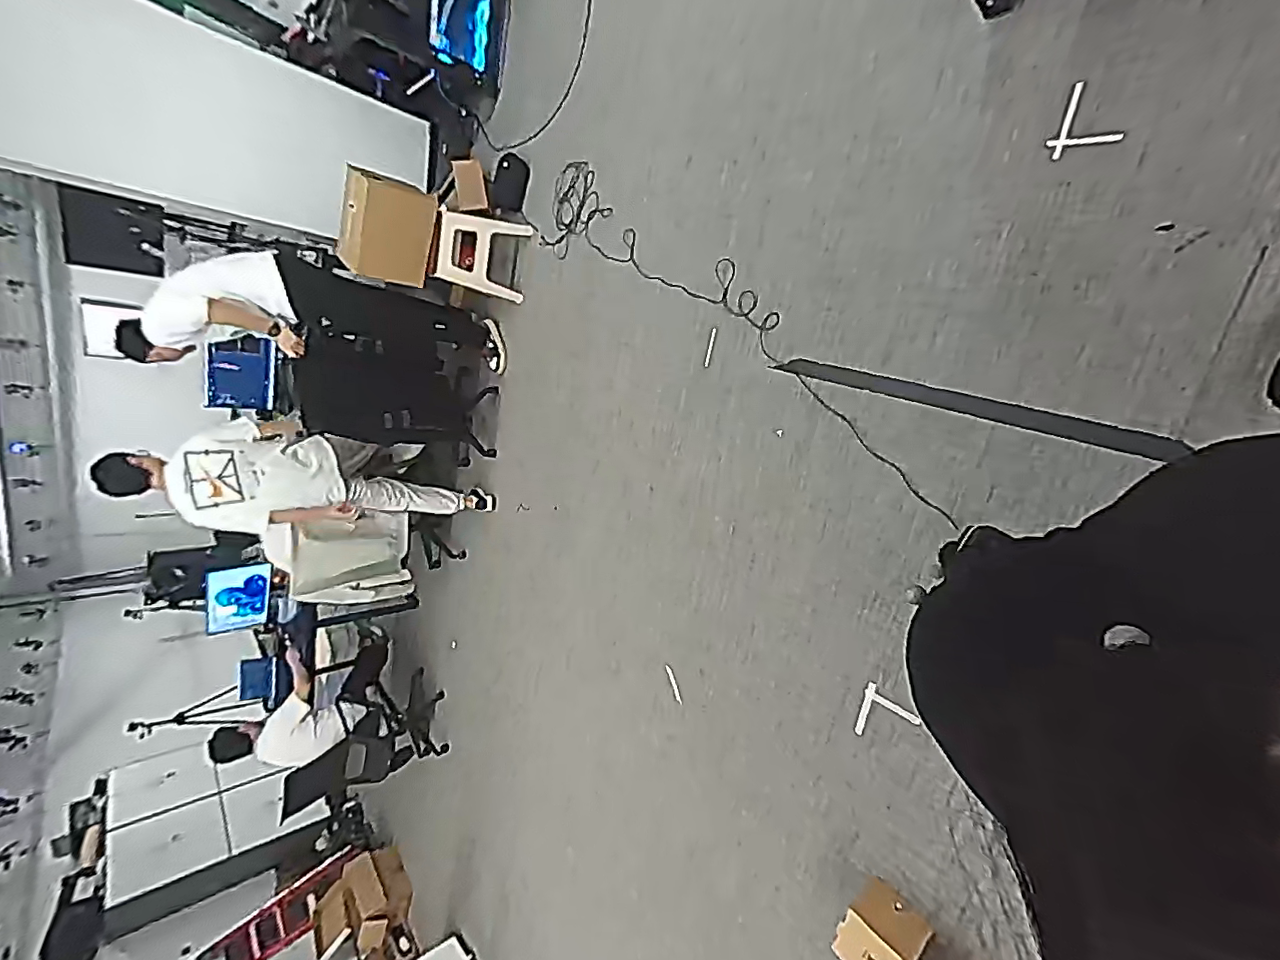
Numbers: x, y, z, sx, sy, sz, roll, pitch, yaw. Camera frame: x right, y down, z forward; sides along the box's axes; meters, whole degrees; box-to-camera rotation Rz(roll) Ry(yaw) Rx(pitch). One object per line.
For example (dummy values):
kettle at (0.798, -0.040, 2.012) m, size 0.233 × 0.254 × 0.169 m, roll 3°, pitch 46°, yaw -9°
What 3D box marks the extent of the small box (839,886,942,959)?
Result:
small box at (0.693, 1.276, 1.497) m, size 0.179 × 0.176 × 0.168 m, roll 30°, pitch 114°, yaw 43°
